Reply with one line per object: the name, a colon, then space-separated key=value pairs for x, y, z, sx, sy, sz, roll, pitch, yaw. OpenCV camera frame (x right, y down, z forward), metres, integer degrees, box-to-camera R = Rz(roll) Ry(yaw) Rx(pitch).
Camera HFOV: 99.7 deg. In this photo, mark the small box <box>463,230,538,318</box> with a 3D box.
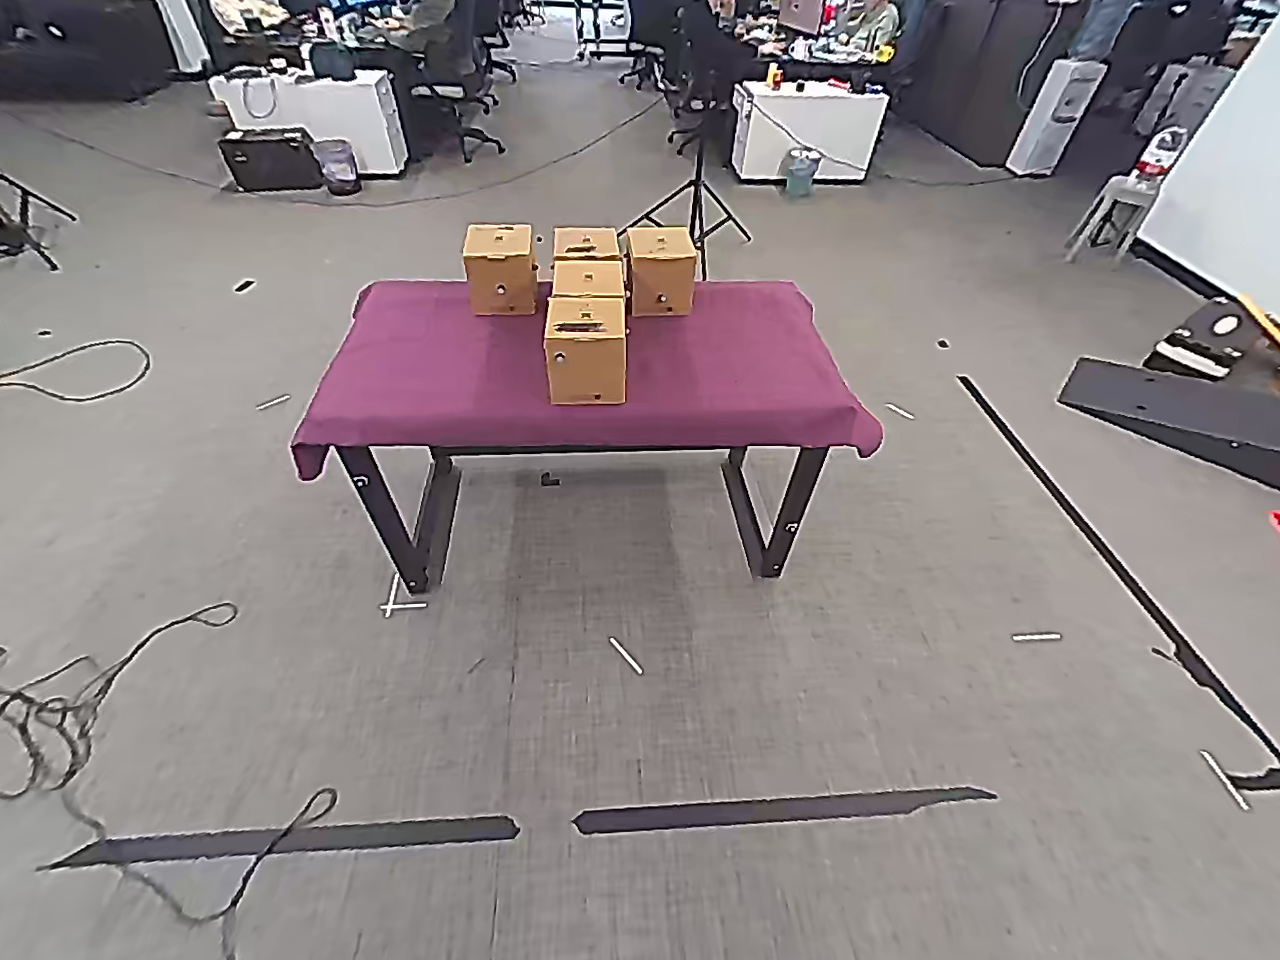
small box: x=-0.366 y=-0.550 z=1.453 sx=0.168 sy=0.176 sz=0.179 roll=-3 pitch=49 yaw=-5
